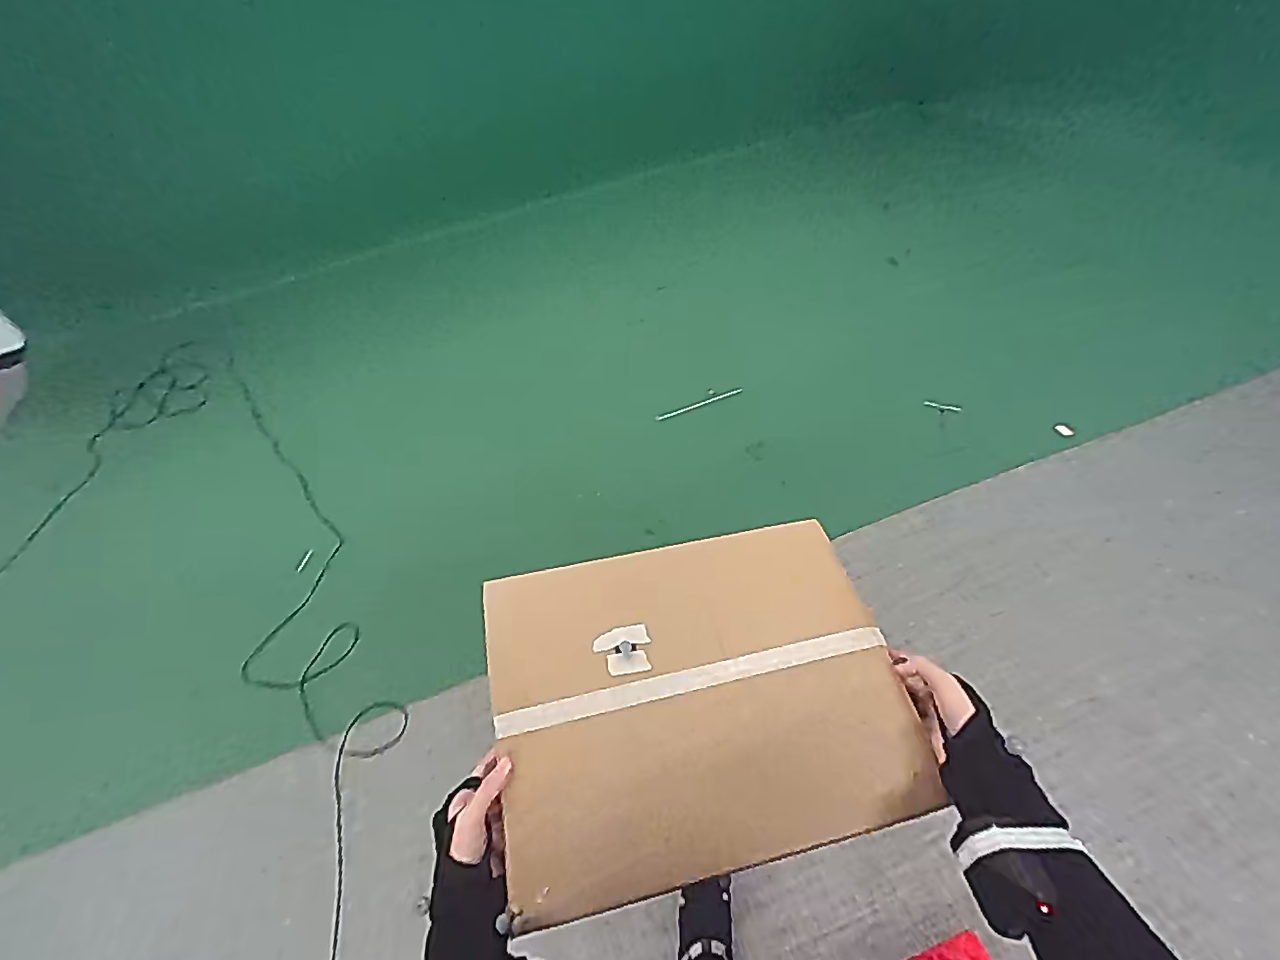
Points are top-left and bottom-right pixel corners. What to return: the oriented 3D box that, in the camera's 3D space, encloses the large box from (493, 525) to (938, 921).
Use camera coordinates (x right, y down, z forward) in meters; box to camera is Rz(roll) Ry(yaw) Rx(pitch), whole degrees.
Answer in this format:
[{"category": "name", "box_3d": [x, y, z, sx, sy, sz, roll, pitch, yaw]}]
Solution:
[{"category": "large box", "box_3d": [0.056, 0.294, 0.682, 0.408, 0.320, 0.320, -9, 55, -8]}]
